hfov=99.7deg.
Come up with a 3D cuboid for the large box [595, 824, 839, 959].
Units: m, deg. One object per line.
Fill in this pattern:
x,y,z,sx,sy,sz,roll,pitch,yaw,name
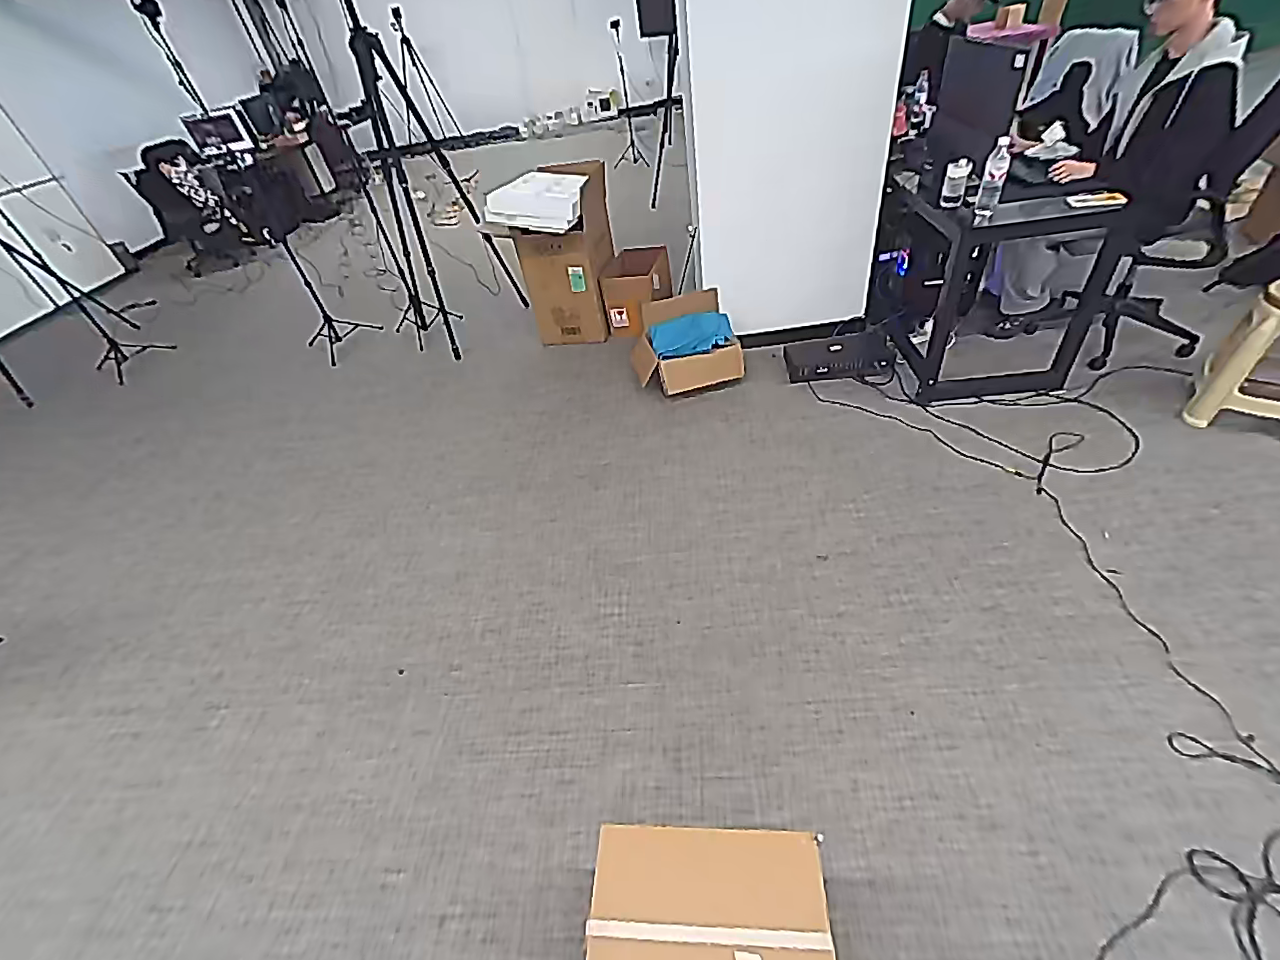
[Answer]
0.141,0.868,1.002,0.408,0.320,0.320,-3,42,8,large box
